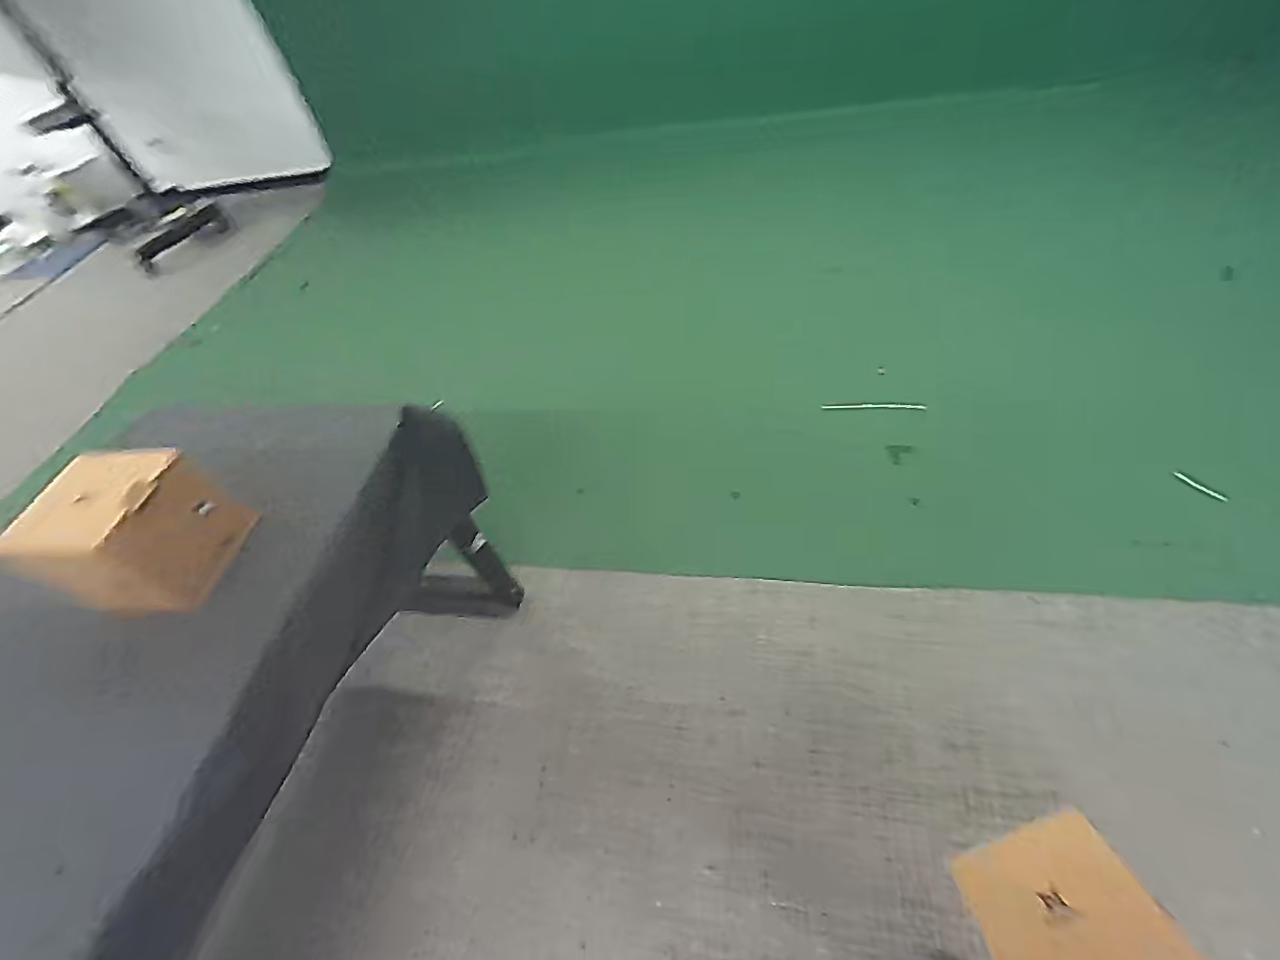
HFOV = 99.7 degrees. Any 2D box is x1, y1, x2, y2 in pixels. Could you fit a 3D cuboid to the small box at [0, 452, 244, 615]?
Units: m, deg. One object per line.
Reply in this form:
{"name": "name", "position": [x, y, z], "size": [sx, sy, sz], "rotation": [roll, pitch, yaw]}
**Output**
{"name": "small box", "position": [-0.720, 0.080, 0.761], "size": [0.179, 0.176, 0.168], "rotation": [-3, 50, 11]}
